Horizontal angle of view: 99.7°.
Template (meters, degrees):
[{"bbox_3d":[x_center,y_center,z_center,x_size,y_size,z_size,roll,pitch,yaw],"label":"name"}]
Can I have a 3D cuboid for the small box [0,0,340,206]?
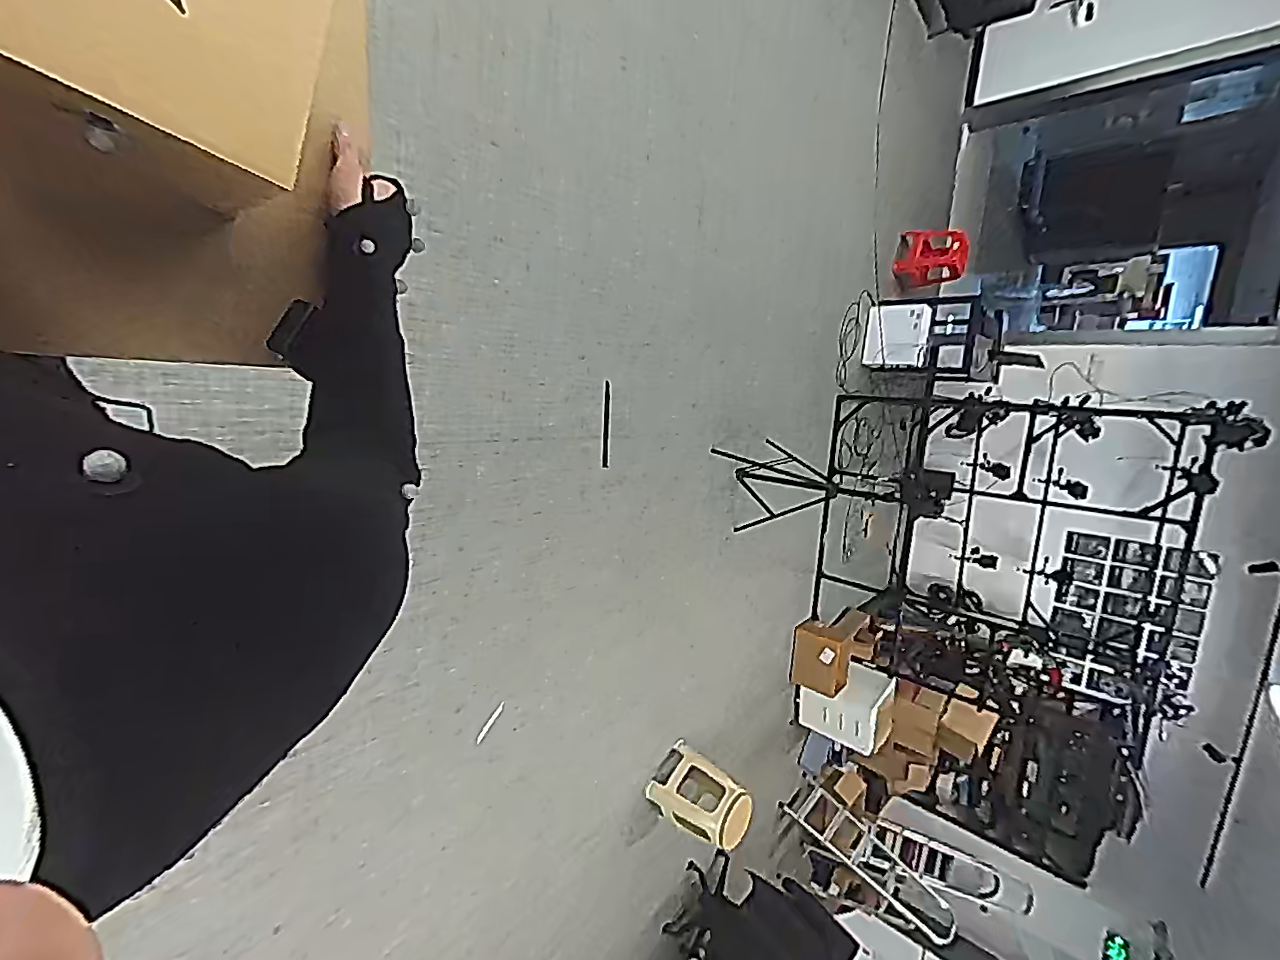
[{"bbox_3d":[-0.346,-0.315,0.379,0.179,0.176,0.168,11,93,-48],"label":"small box"}]
